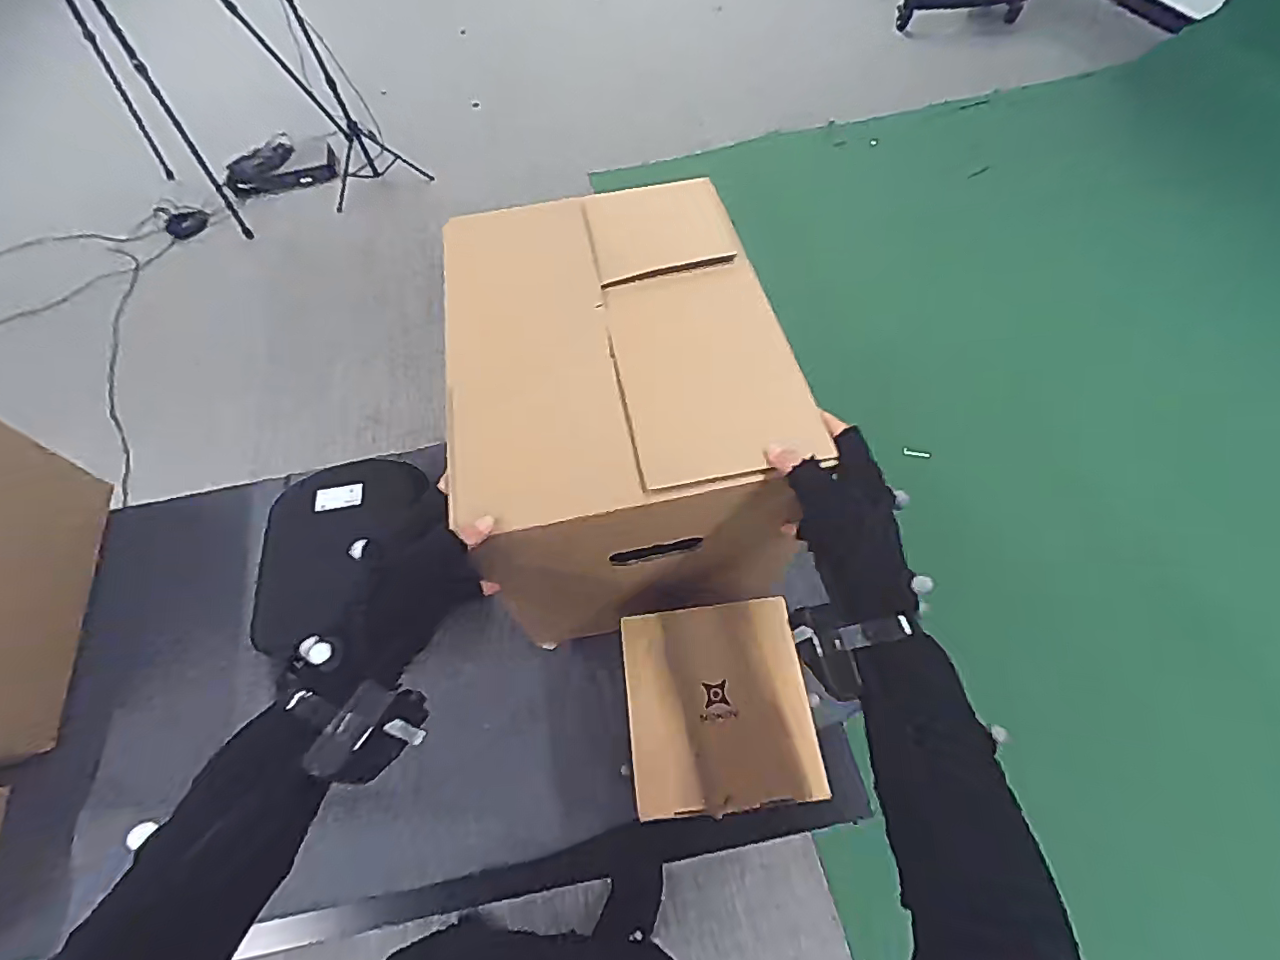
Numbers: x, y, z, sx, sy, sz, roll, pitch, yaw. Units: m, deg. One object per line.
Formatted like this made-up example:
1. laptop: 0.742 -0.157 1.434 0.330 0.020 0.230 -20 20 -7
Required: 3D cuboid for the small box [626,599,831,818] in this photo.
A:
1. small box: 0.080 0.240 0.568 0.168 0.176 0.179 -8 62 2
